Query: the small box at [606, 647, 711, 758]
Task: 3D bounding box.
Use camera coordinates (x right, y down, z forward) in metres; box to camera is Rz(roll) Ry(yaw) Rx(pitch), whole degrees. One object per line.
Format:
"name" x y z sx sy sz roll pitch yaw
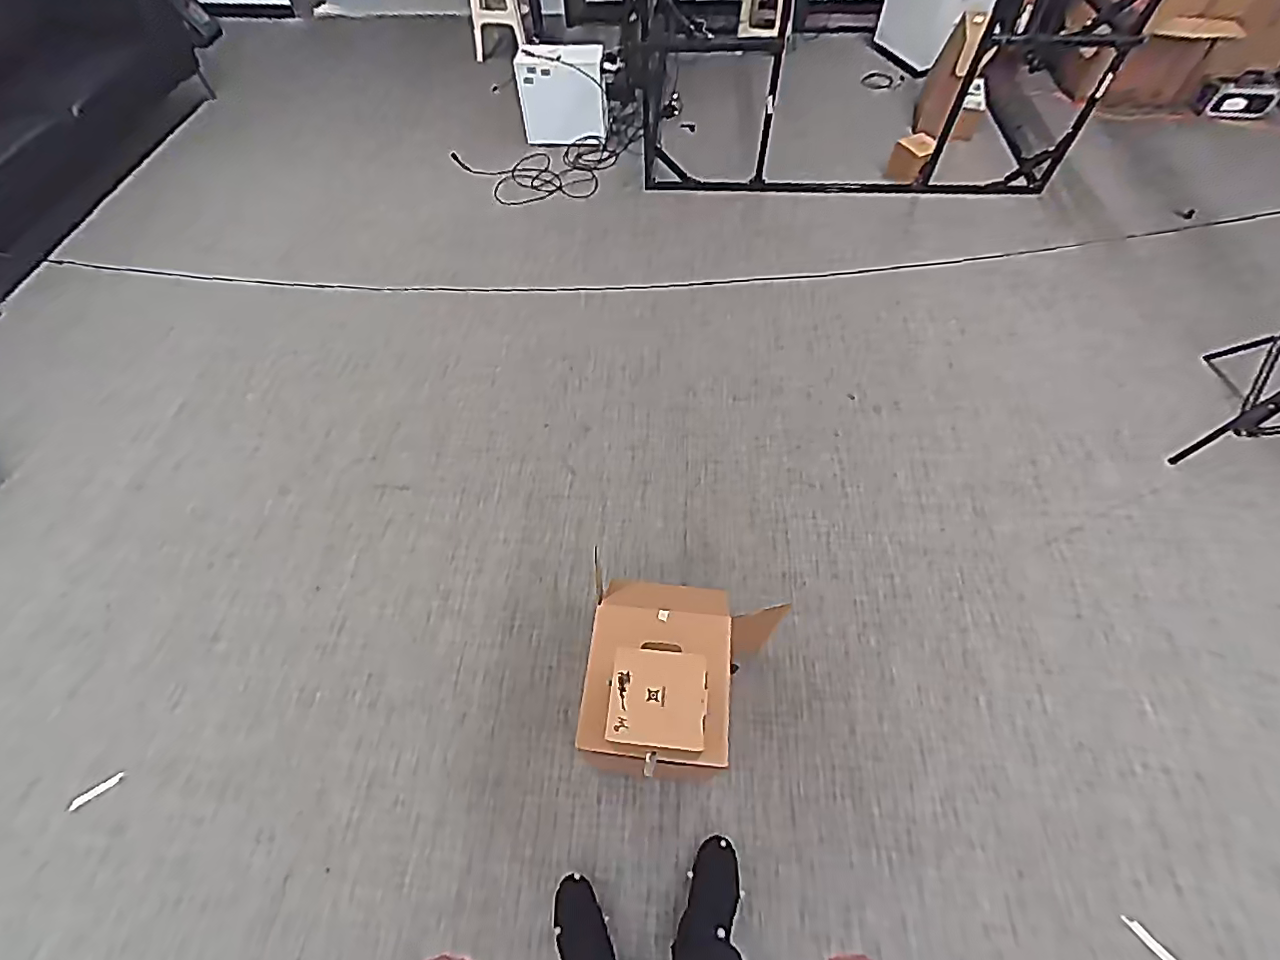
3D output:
"small box" 0.036 0.433 1.043 0.179 0.176 0.168 6 59 4
